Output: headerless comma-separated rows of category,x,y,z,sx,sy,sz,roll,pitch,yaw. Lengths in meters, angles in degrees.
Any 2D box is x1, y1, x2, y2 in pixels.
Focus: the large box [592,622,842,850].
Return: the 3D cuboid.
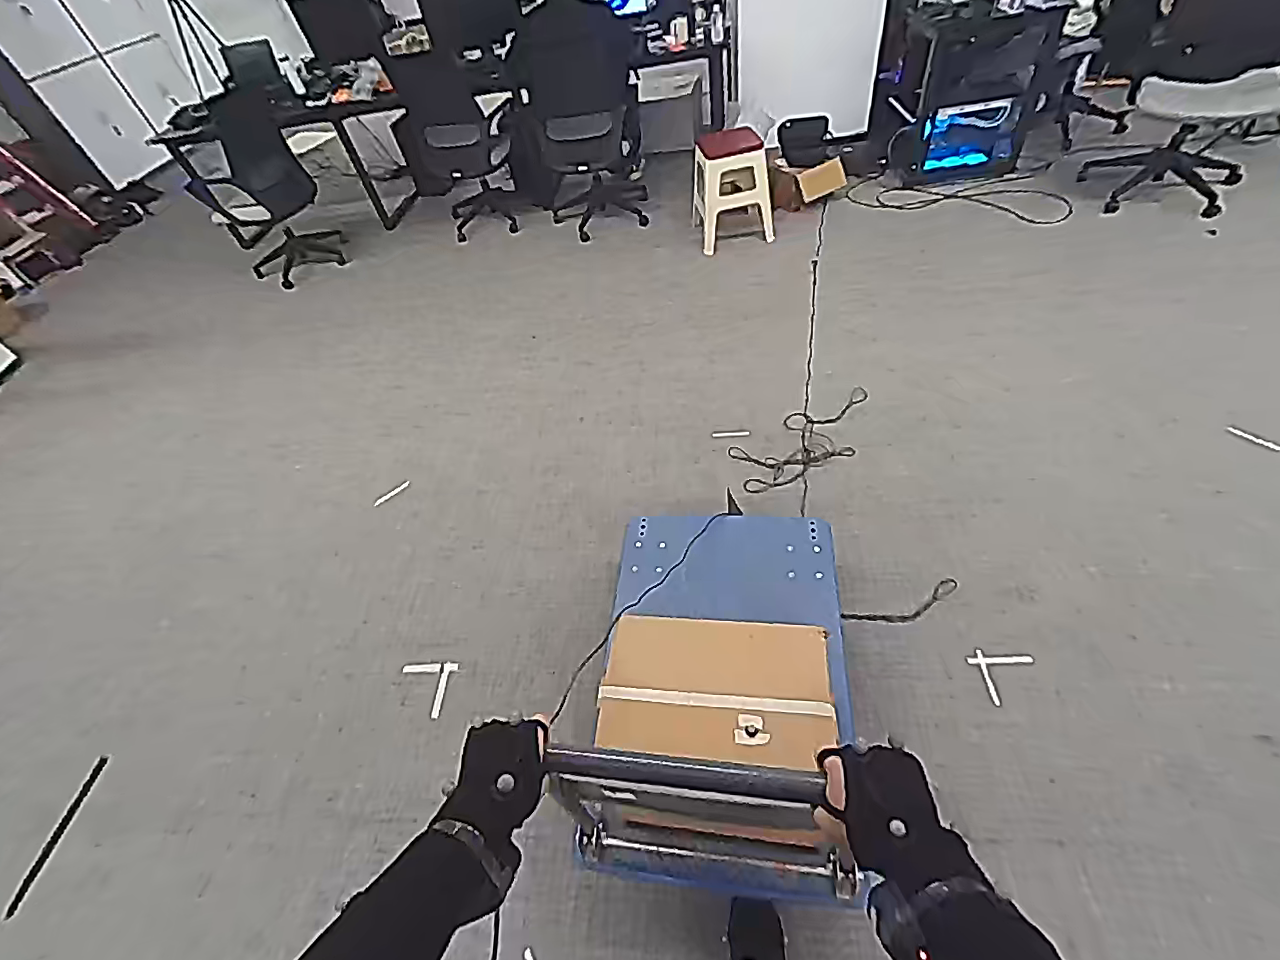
large box,0.149,0.498,1.060,0.408,0.320,0.320,1,50,11
